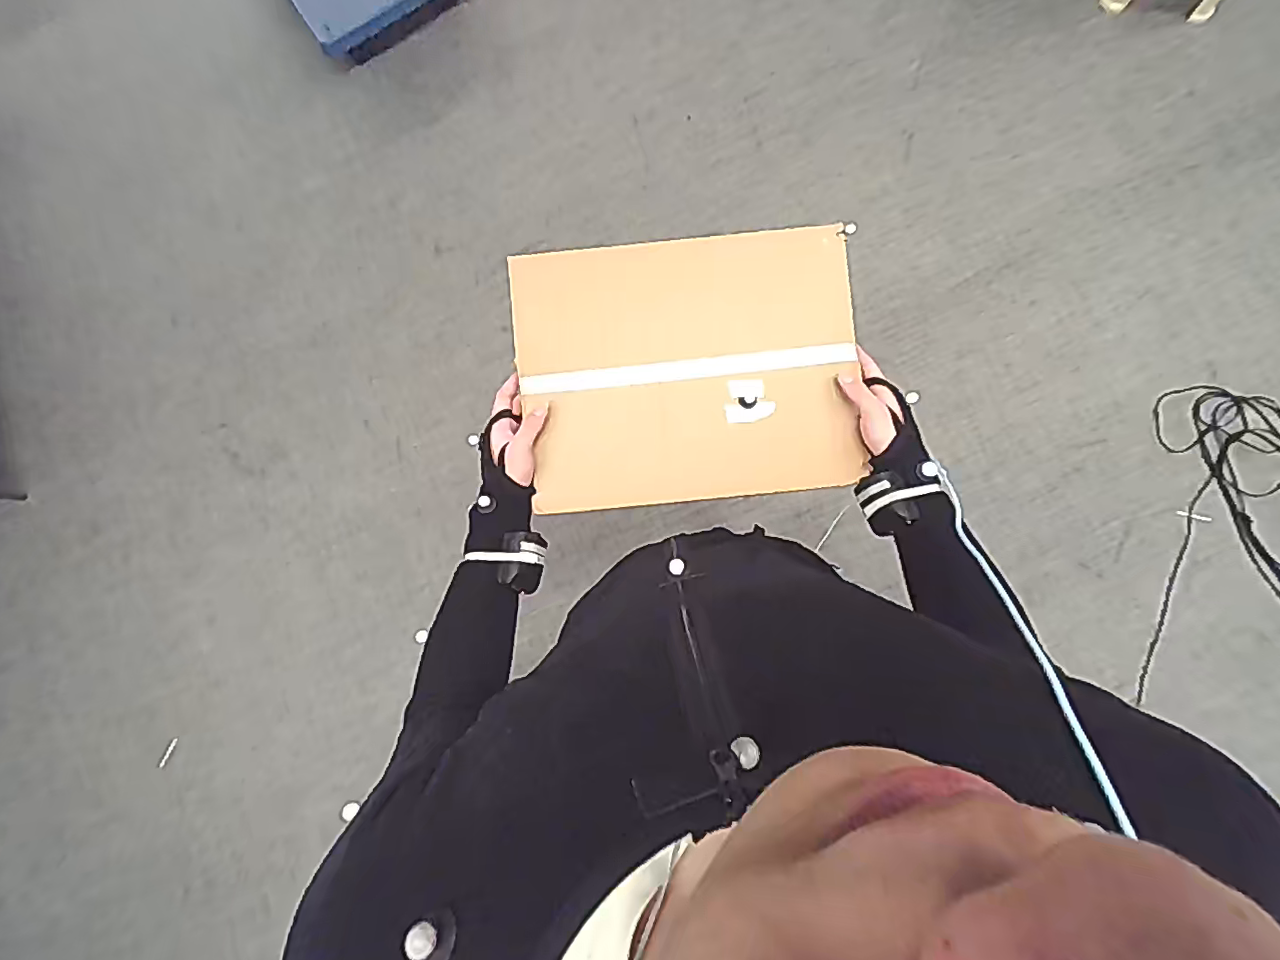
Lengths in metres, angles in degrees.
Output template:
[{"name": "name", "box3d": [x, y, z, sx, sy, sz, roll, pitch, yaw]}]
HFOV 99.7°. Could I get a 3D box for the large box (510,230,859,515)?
[{"name": "large box", "box3d": [0.052, -0.129, 0.807, 0.408, 0.320, 0.320, -6, 90, 0]}]
